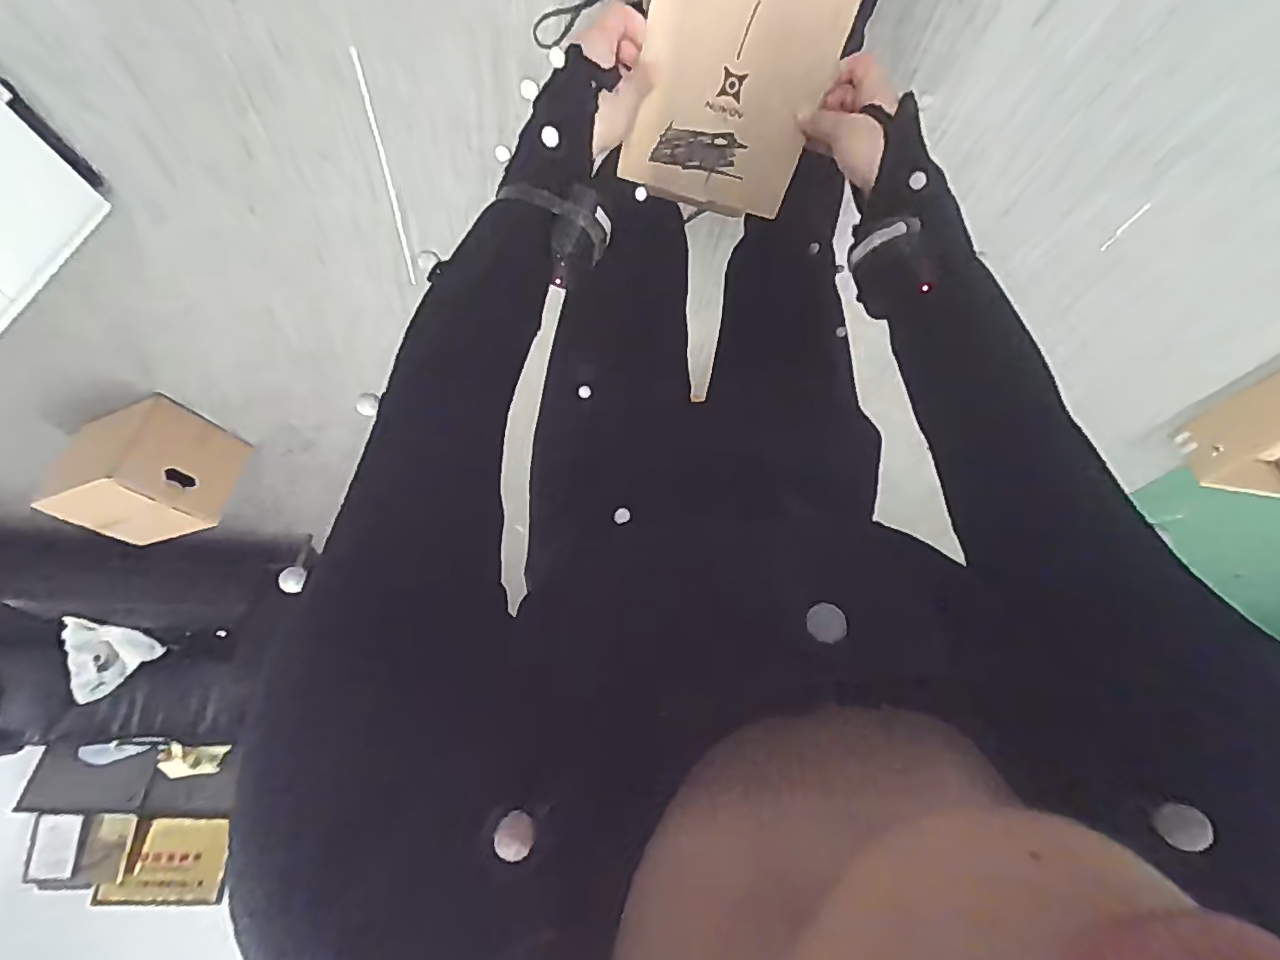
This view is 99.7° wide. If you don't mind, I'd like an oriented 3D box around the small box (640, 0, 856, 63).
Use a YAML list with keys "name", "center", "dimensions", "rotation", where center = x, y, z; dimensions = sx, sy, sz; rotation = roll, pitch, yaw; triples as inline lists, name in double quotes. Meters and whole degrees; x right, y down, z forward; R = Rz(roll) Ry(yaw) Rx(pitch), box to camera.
- name: "small box"
  center: [0.105, -0.499, 0.453]
  dimensions: [0.168, 0.179, 0.176]
  rotation: [11, 112, -11]
